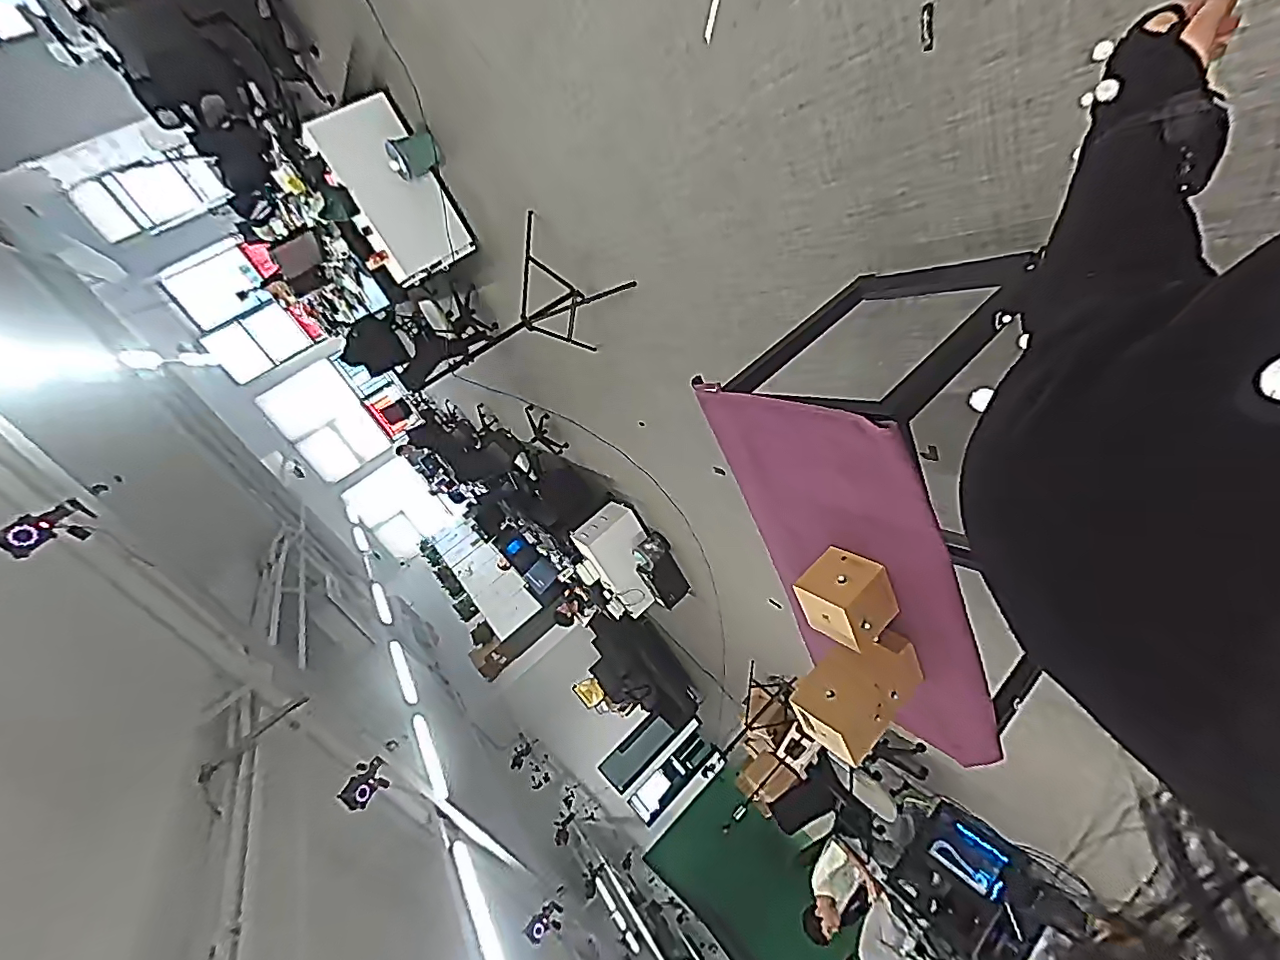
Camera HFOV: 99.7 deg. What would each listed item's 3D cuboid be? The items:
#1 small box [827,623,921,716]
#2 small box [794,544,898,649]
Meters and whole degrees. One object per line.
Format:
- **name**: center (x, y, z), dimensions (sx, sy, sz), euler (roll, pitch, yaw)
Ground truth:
- **small box**: center (0.668, 0.518, 1.533), dimensions (0.168, 0.176, 0.179), euler (20, 144, 56)
- **small box**: center (0.540, 0.294, 1.410), dimensions (0.168, 0.176, 0.179), euler (21, 146, 56)
